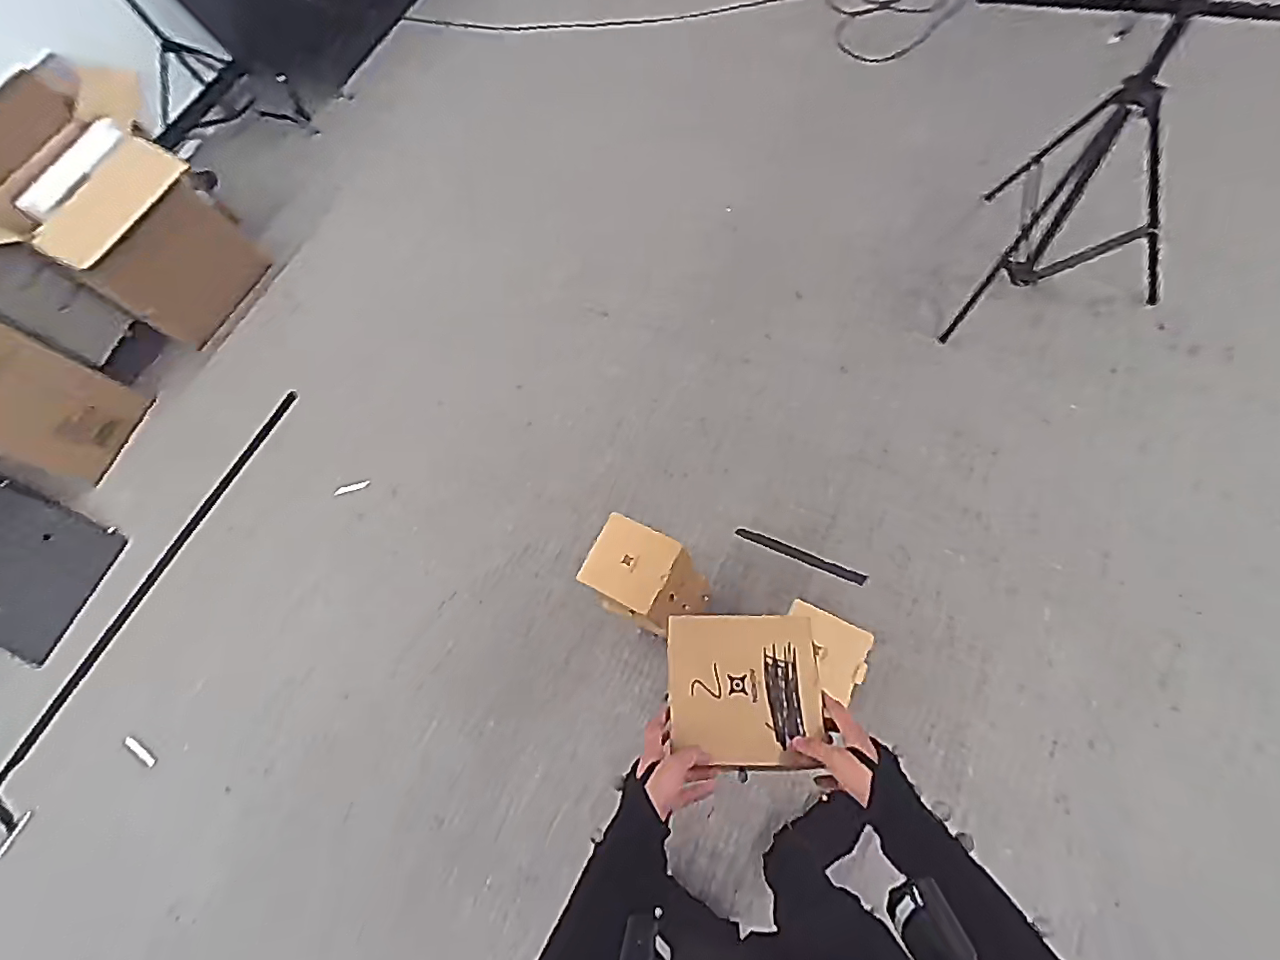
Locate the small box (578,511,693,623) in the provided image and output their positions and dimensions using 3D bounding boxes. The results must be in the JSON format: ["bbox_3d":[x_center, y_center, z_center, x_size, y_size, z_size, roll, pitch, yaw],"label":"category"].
[{"bbox_3d":[-0.002,0.197,1.183,0.179,0.176,0.168,24,75,21],"label":"small box"}]

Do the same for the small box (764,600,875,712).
[{"bbox_3d":[0.388,0.388,1.195,0.179,0.176,0.168,25,75,20],"label":"small box"}]

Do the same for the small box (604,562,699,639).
[{"bbox_3d":[0.038,0.272,1.323,0.168,0.176,0.179,18,74,20],"label":"small box"}]

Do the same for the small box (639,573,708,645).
[{"bbox_3d":[0.080,0.332,1.469,0.168,0.176,0.179,17,73,19],"label":"small box"}]
